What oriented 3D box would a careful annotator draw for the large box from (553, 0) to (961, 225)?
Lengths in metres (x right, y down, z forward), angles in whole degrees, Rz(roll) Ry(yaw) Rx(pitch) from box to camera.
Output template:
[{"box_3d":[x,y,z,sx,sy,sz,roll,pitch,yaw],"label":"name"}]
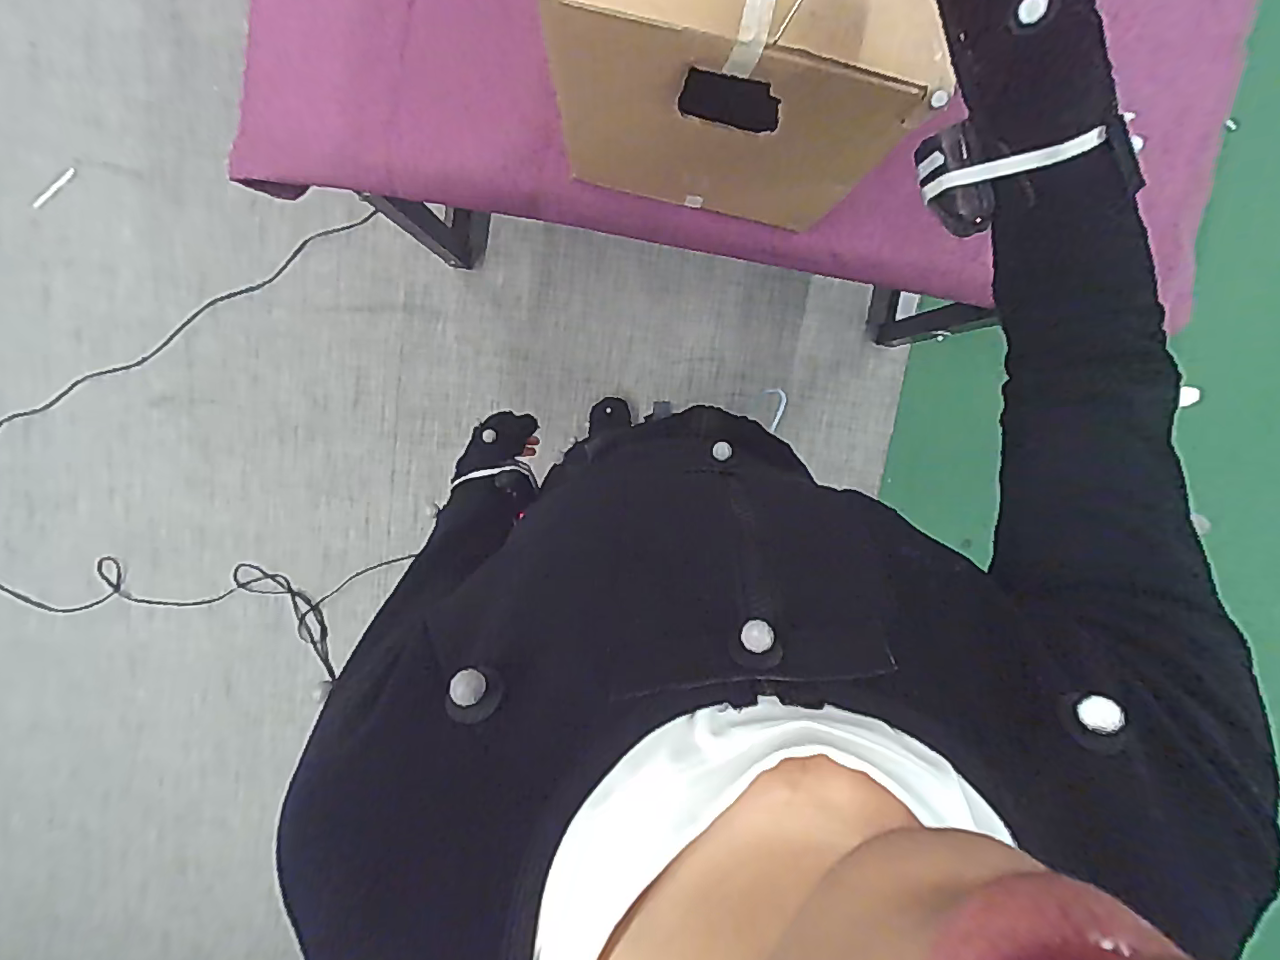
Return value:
[{"box_3d":[0.114,-0.534,0.533,0.320,0.320,0.408,12,98,-3],"label":"large box"}]
